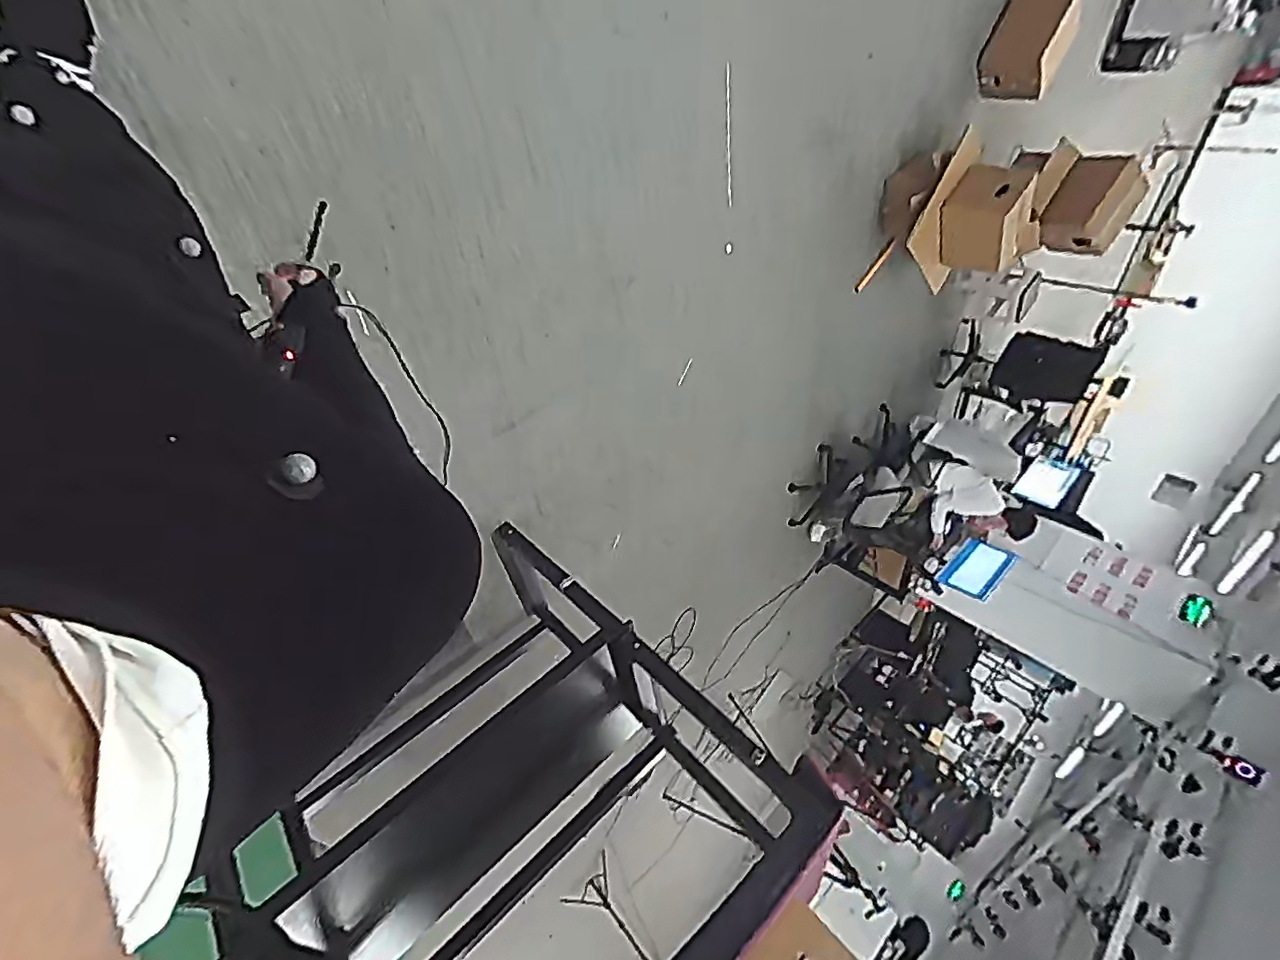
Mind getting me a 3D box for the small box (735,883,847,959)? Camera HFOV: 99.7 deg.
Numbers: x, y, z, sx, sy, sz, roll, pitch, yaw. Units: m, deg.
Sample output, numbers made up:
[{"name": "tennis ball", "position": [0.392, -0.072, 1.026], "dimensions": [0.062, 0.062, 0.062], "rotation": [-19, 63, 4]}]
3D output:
[{"name": "small box", "position": [0.322, 1.042, 1.183], "dimensions": [0.179, 0.176, 0.168], "rotation": [-37, 138, -26]}]
